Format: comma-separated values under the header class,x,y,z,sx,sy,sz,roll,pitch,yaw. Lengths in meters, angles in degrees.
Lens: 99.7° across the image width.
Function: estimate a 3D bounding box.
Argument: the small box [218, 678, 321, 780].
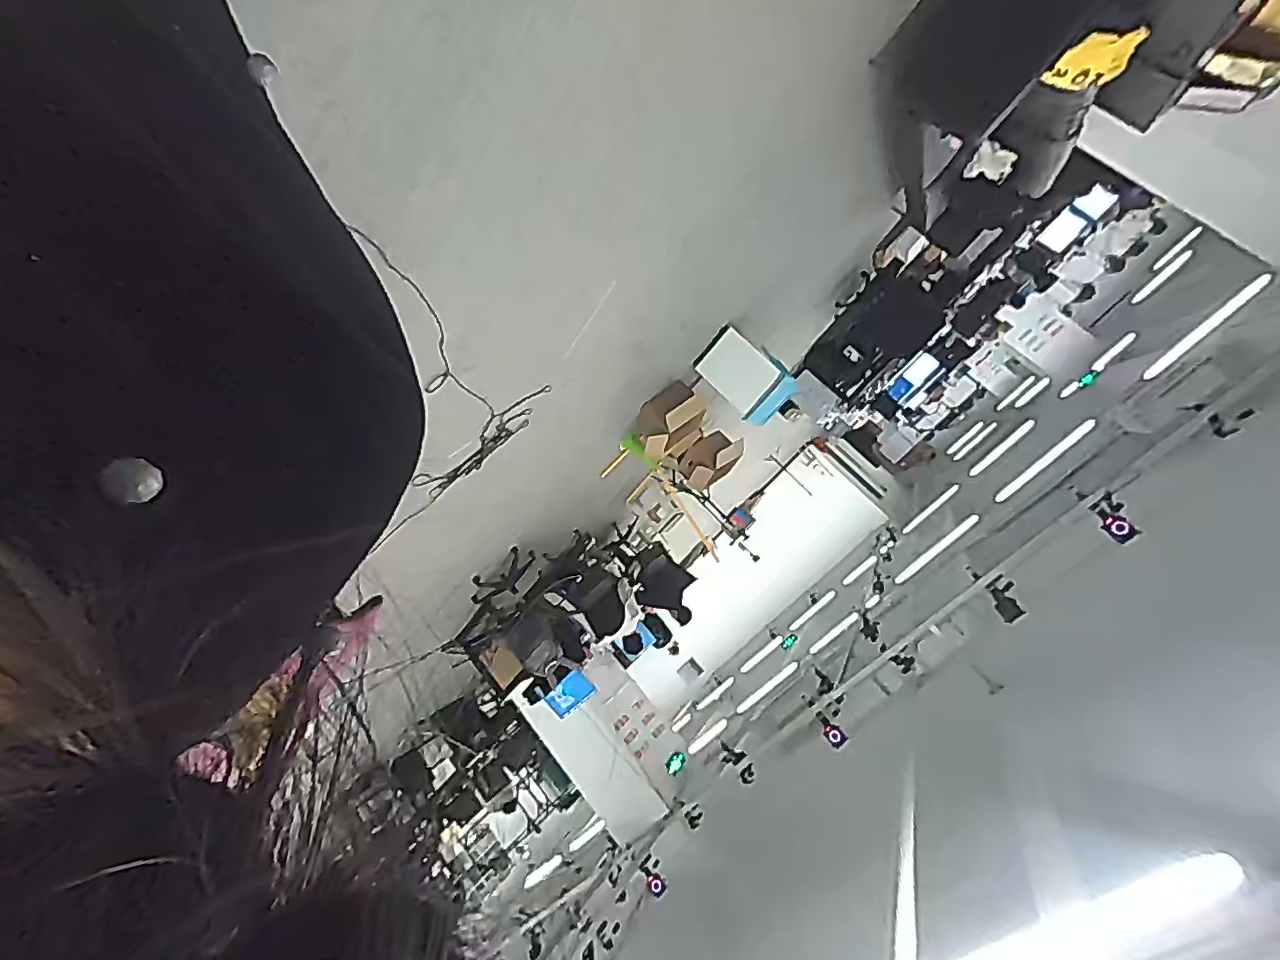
class,x,y,z,sx,sy,sz,roll,pitch,yaw
small box,-1.058,0.700,1.537,0.179,0.176,0.168,-49,163,21
